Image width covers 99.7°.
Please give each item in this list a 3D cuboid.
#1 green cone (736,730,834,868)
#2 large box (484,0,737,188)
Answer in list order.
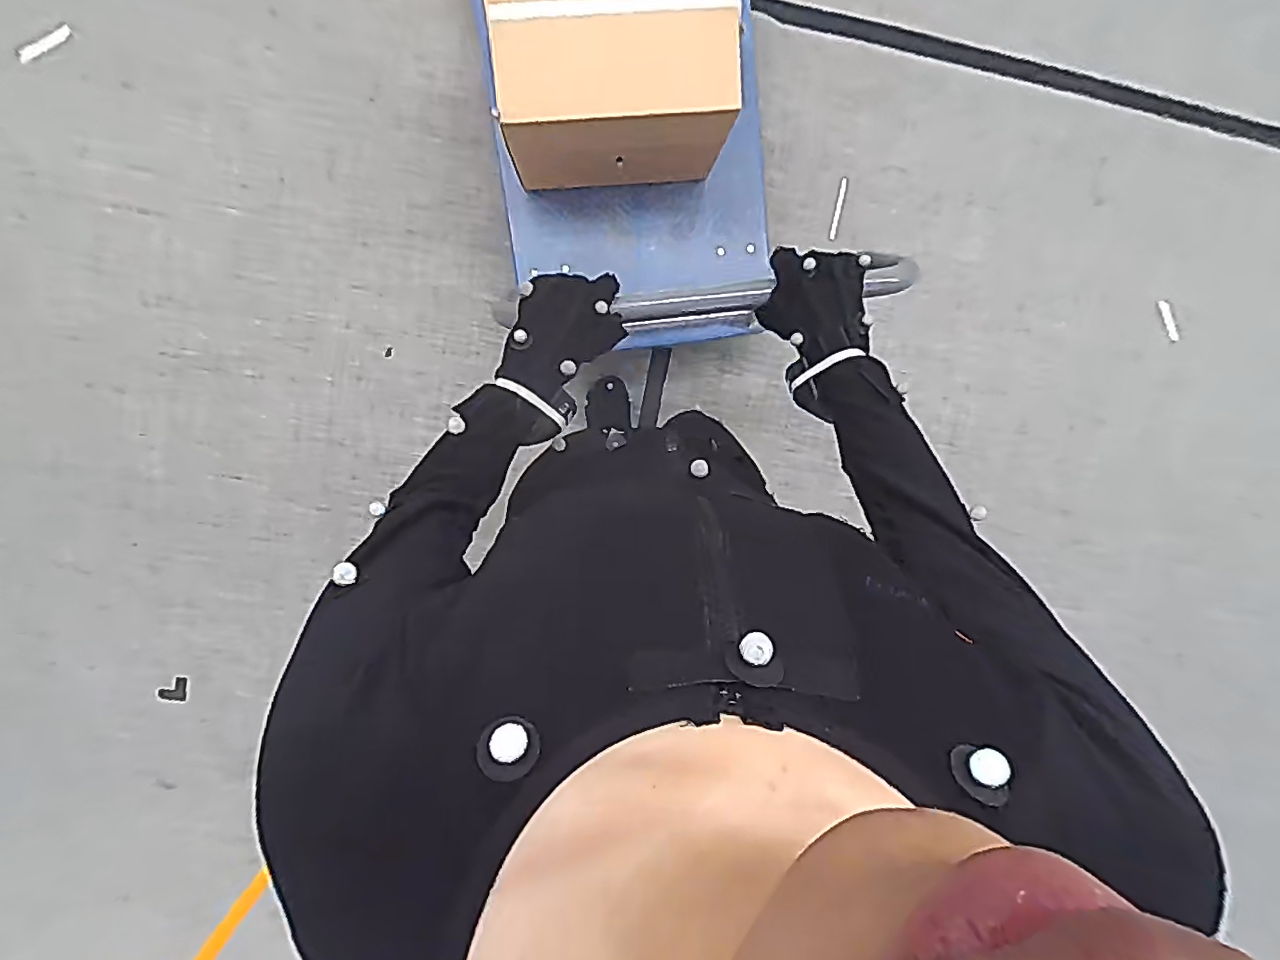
[{"bbox_3d":[0.420,0.882,1.460,0.202,0.368,0.200,13,97,-8],"label":"green cone"},{"bbox_3d":[-0.055,-0.777,1.016,0.408,0.320,0.320,-6,100,-3],"label":"large box"}]
